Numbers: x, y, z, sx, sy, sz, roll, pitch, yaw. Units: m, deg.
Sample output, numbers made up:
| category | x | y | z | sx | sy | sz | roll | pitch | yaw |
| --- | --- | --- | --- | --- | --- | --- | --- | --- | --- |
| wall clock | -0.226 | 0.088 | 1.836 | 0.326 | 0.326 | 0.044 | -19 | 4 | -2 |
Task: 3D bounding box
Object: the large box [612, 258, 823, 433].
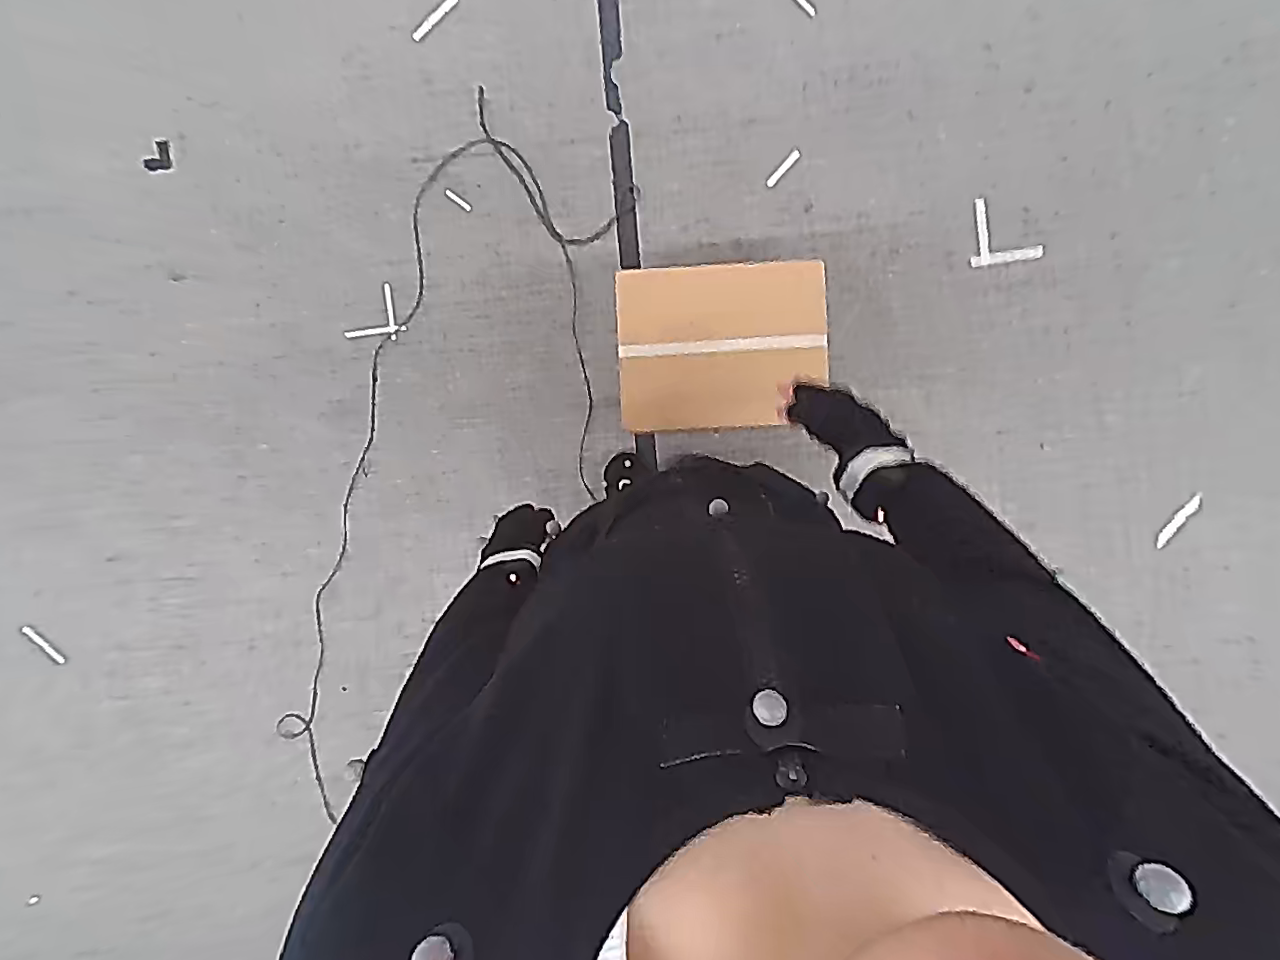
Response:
| category | x | y | z | sx | sy | sz | roll | pitch | yaw |
| --- | --- | --- | --- | --- | --- | --- | --- | --- | --- |
| large box | 0.154 | -0.275 | 1.203 | 0.408 | 0.320 | 0.320 | -3 | 95 | 0 |
